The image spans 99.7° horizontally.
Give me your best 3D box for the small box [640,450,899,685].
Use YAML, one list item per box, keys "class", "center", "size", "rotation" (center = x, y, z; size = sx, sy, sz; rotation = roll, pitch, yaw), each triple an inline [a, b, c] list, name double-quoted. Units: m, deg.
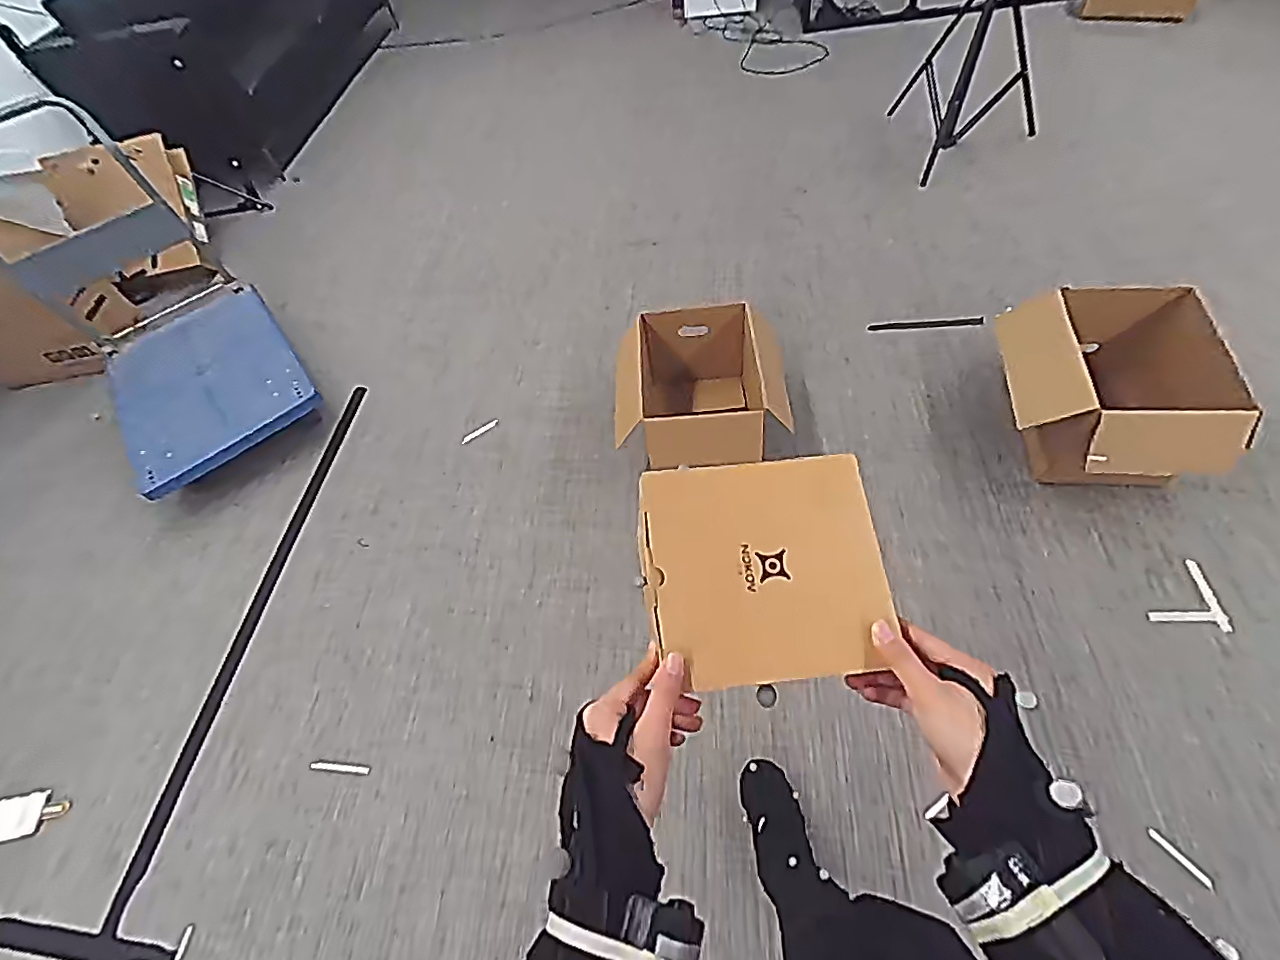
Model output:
- class: "small box"
  center: [0.093, 0.085, 0.484]
  size: [0.179, 0.176, 0.168]
  rotation: [-6, 71, -1]
